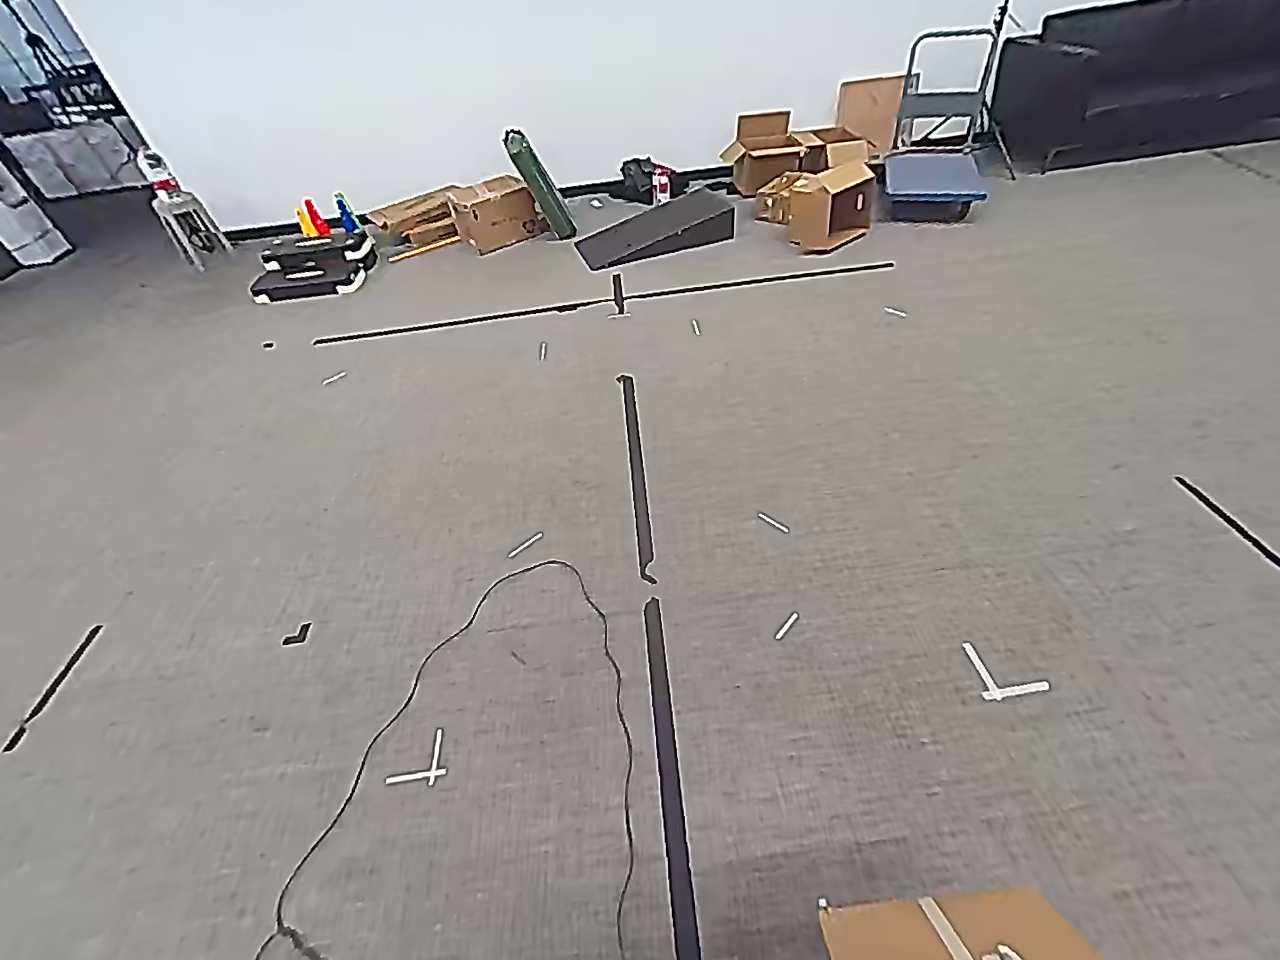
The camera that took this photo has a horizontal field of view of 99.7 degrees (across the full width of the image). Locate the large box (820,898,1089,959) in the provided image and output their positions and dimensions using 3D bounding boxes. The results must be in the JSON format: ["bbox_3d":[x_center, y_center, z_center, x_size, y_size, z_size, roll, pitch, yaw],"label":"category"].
[{"bbox_3d":[0.426,0.759,0.582,0.320,0.408,0.320,-8,83,4],"label":"large box"}]
